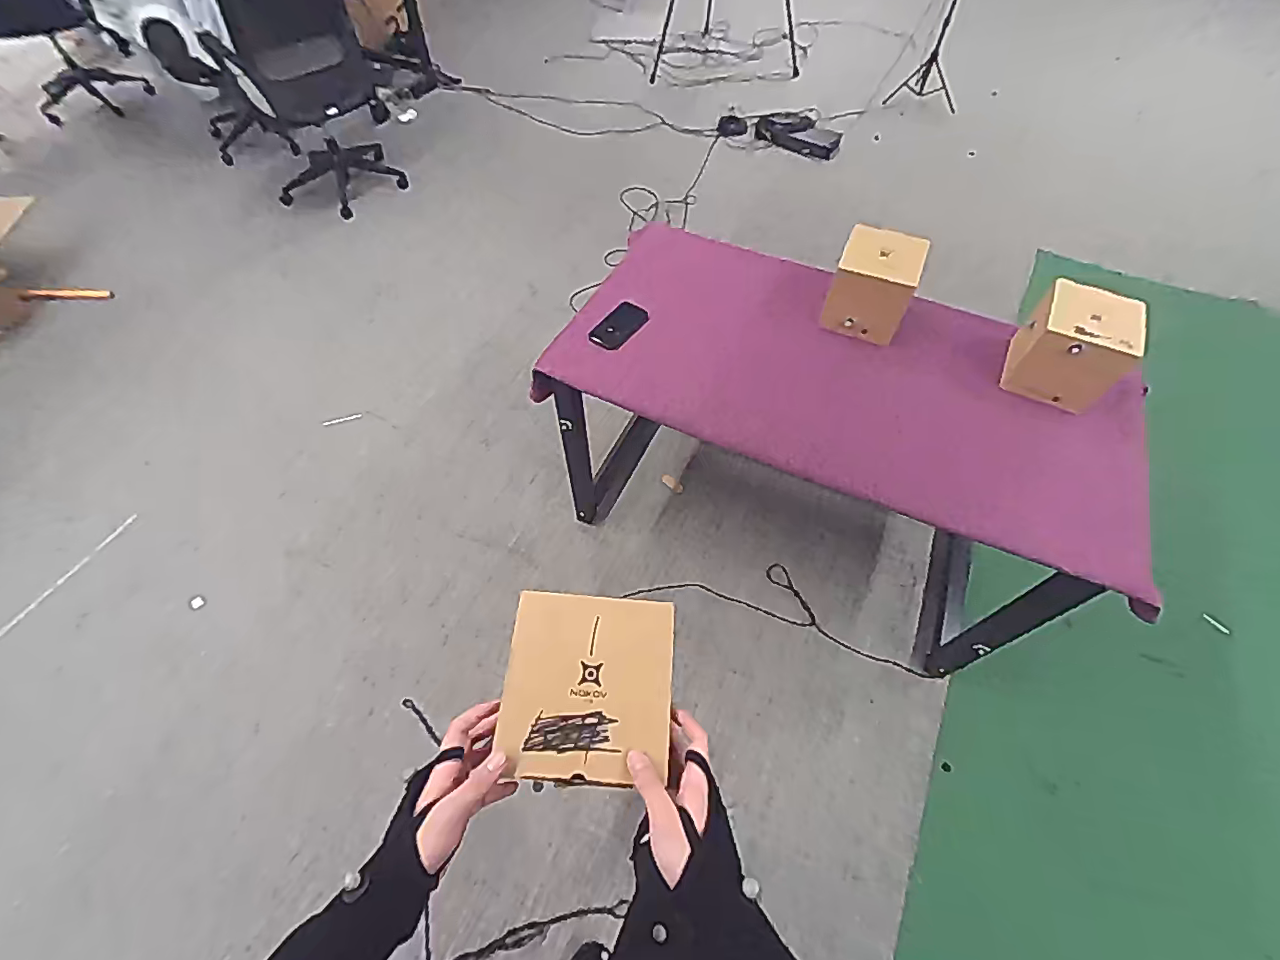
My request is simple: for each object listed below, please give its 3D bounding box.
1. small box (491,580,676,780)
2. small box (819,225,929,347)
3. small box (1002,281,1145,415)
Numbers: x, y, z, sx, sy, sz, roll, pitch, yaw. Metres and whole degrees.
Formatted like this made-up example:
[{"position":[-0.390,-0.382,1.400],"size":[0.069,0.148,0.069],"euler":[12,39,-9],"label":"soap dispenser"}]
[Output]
[{"position":[-0.053,0.227,0.600],"size":[0.168,0.176,0.179],"euler":[5,60,-1],"label":"small box"},{"position":[0.522,-0.435,1.221],"size":[0.168,0.176,0.179],"euler":[21,60,14],"label":"small box"},{"position":[0.881,-0.269,1.110],"size":[0.168,0.176,0.179],"euler":[24,59,16],"label":"small box"}]
